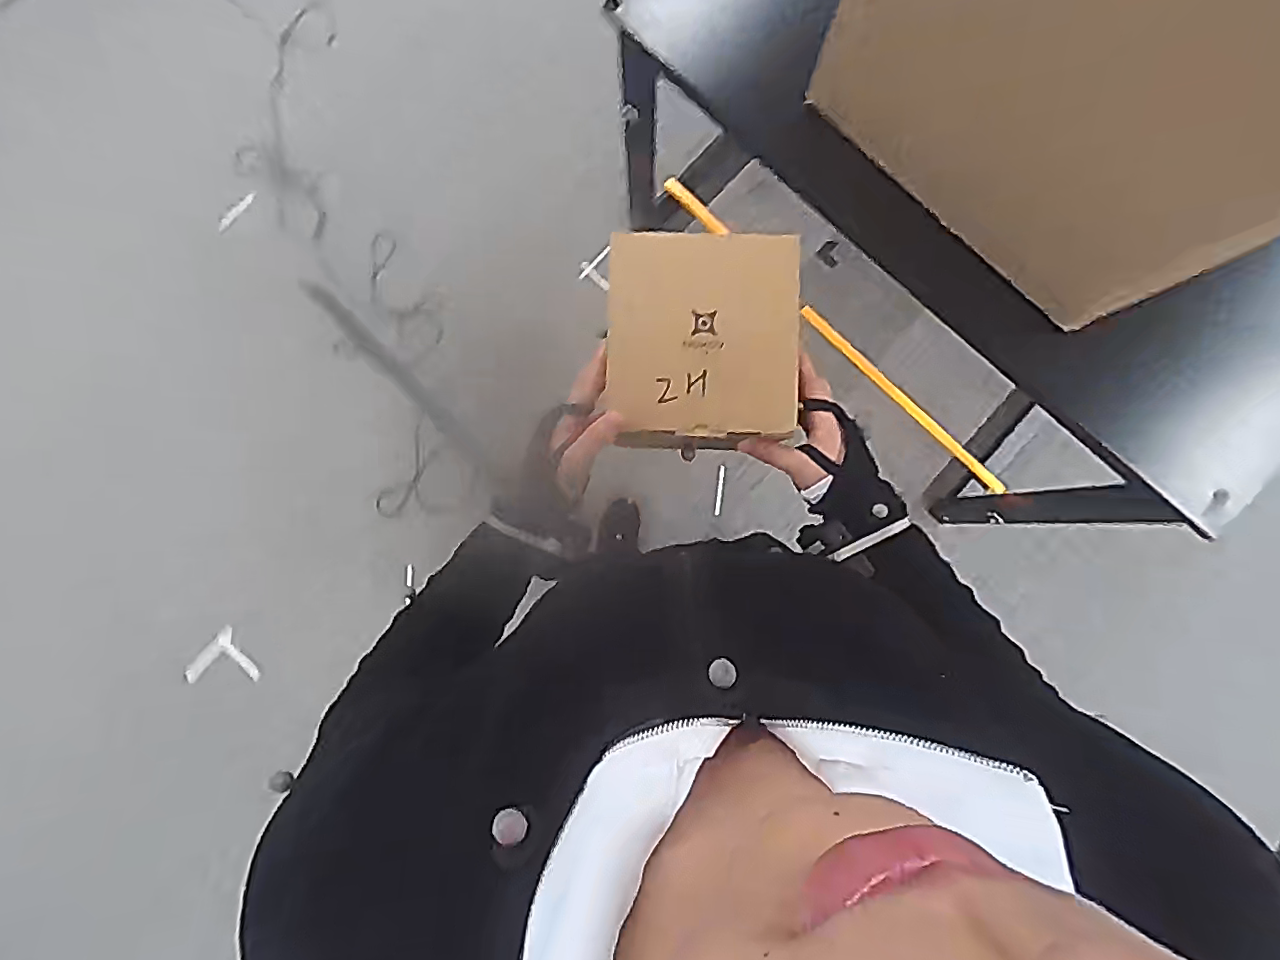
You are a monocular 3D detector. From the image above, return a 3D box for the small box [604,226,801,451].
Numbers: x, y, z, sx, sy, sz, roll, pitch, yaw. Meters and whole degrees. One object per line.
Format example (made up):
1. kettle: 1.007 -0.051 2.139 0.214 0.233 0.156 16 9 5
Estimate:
1. small box: 0.054 -0.126 0.542 0.168 0.176 0.179 2 88 1
